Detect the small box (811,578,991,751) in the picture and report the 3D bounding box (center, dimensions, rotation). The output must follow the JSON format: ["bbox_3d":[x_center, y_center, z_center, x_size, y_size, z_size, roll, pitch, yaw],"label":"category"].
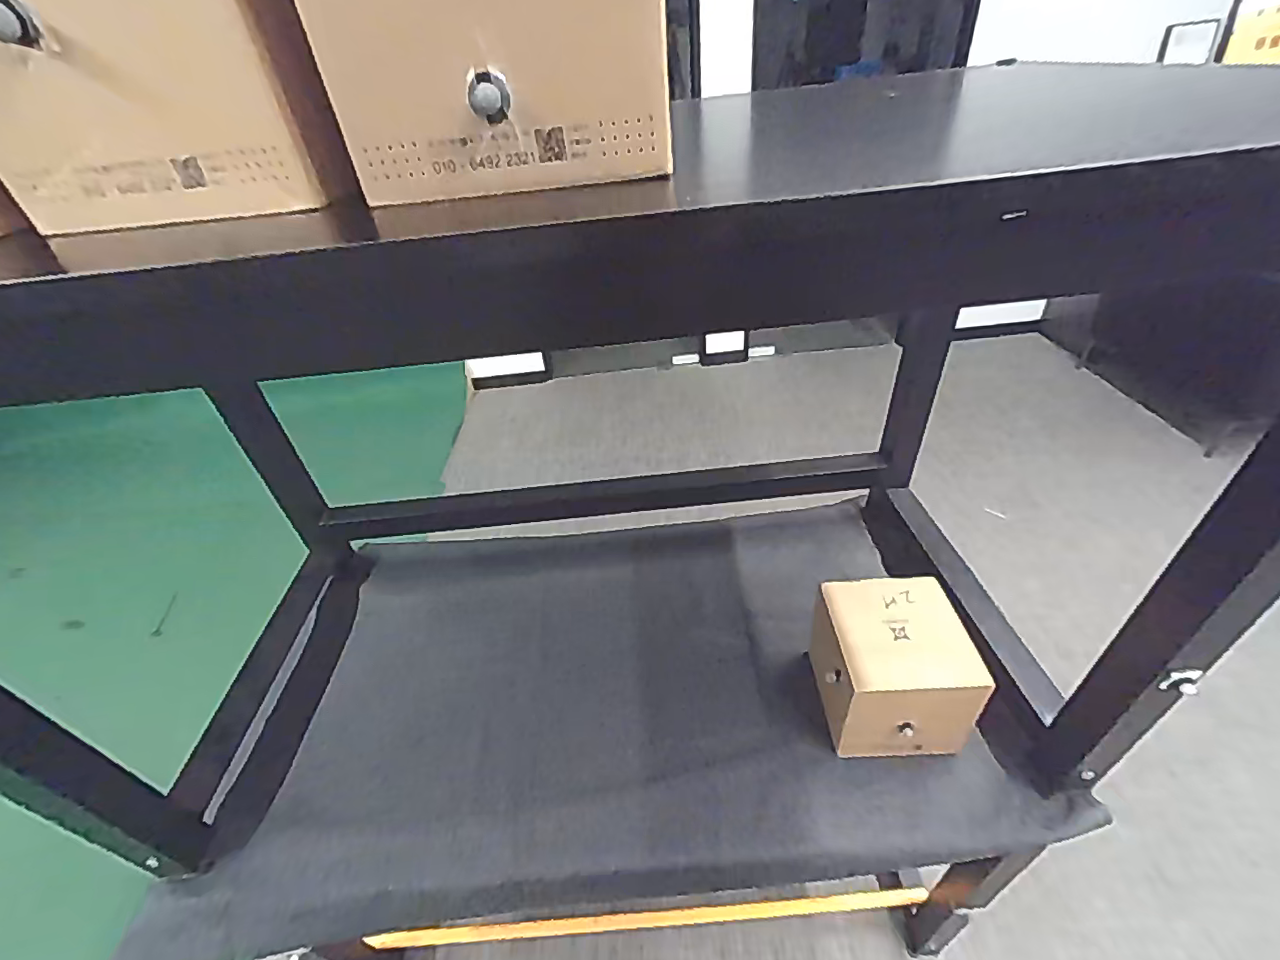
[{"bbox_3d":[0.348,0.262,0.761,0.168,0.176,0.179,-3,37,3],"label":"small box"}]

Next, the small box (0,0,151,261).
[{"bbox_3d":[-0.461,-0.233,0.326,0.168,0.176,0.179,-5,39,2],"label":"small box"}]
